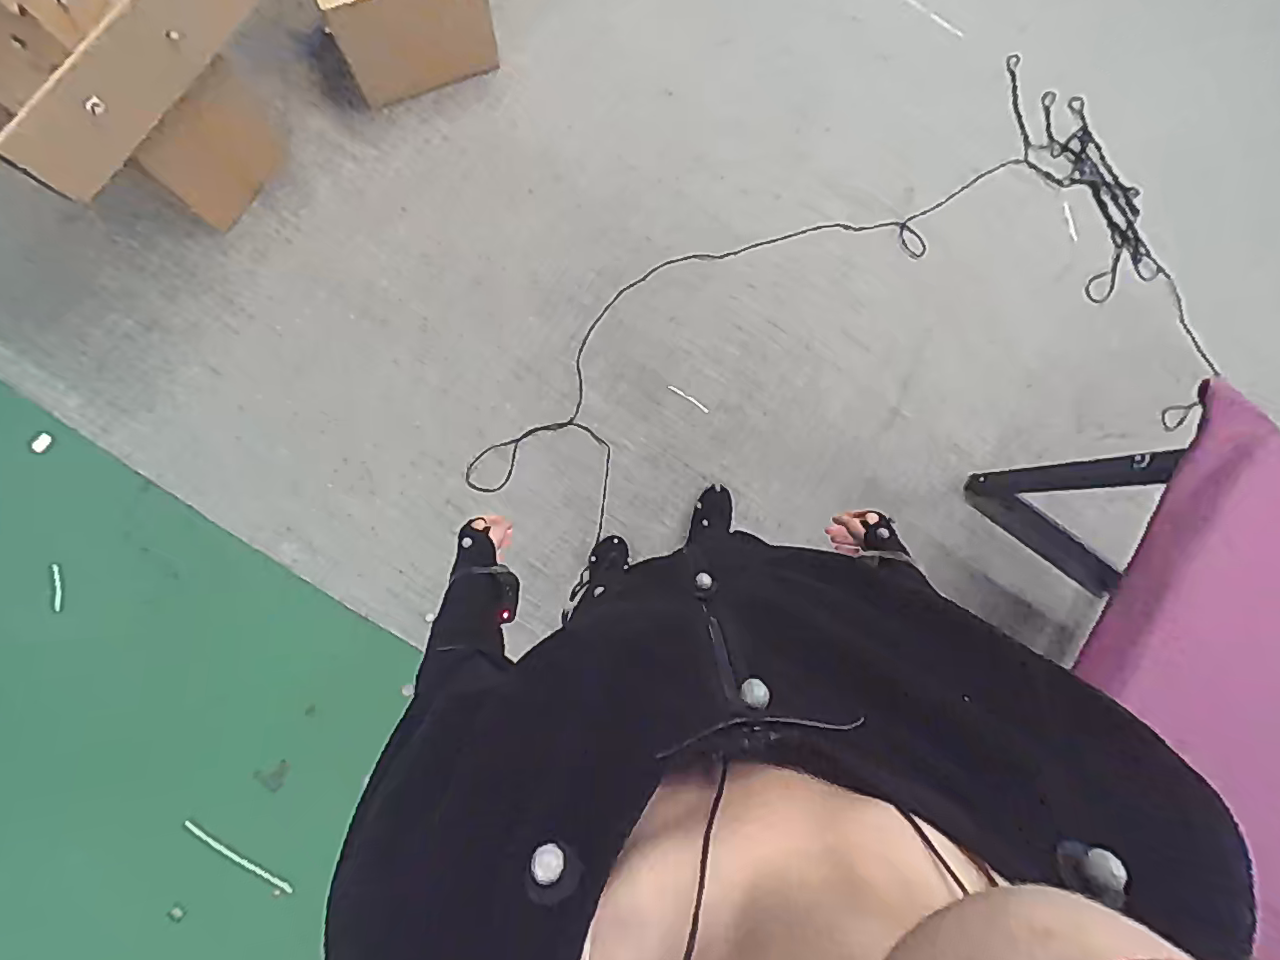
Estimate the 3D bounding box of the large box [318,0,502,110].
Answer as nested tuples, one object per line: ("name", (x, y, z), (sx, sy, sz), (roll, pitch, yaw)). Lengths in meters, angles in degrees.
("large box", (-0.629, -1.281, 1.425), (0.408, 0.320, 0.320), (-25, 89, -9))
